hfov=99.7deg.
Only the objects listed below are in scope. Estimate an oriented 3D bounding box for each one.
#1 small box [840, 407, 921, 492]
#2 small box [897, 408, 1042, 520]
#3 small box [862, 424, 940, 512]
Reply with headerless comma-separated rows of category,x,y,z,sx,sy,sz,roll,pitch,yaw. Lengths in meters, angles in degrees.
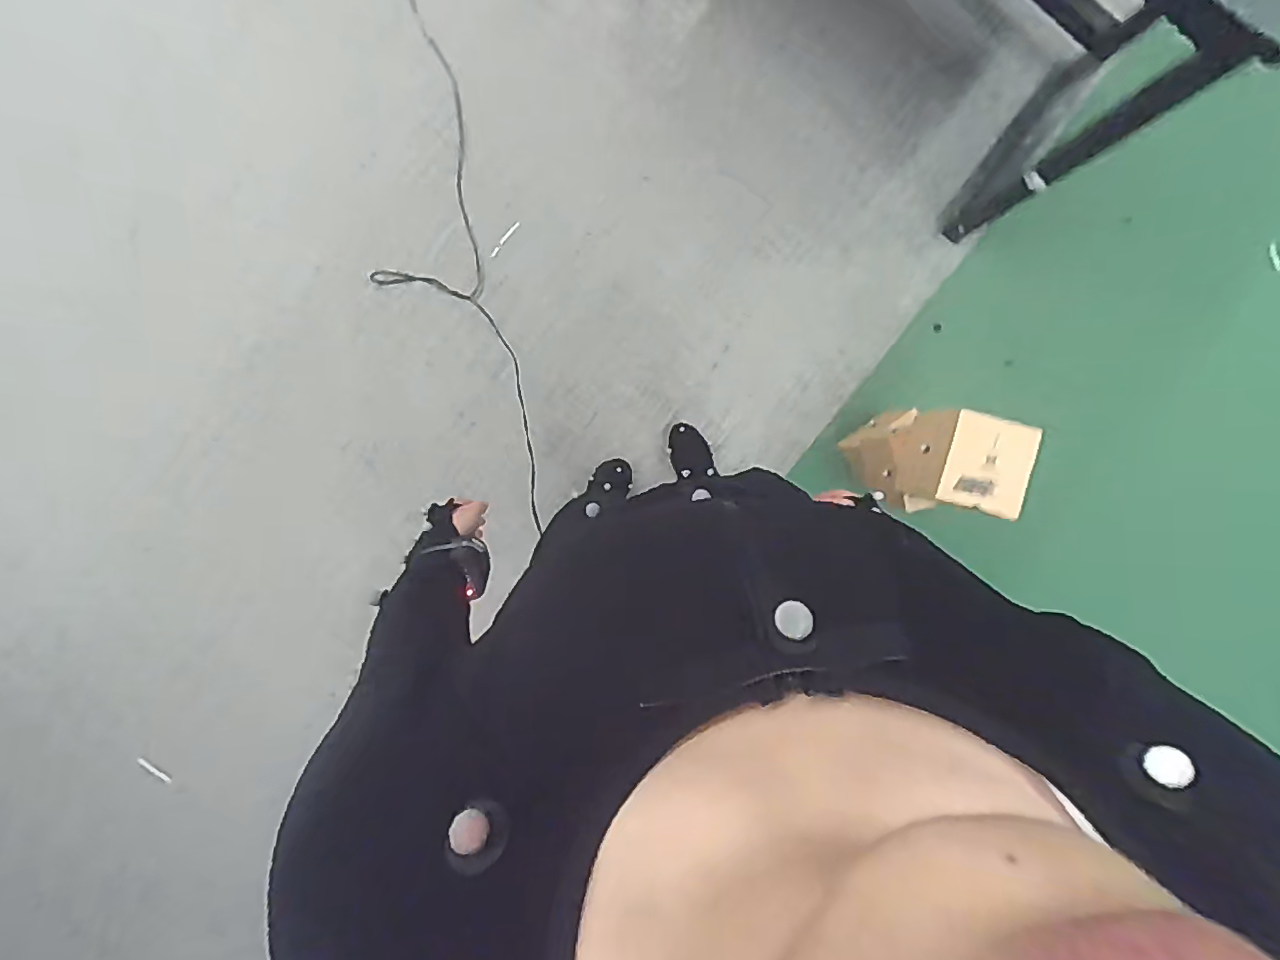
small box,0.657,-0.069,1.412,0.168,0.176,0.179,-35,94,2
small box,0.647,-0.033,1.086,0.168,0.176,0.179,15,92,-1
small box,0.638,-0.037,1.251,0.168,0.176,0.179,-14,95,1
